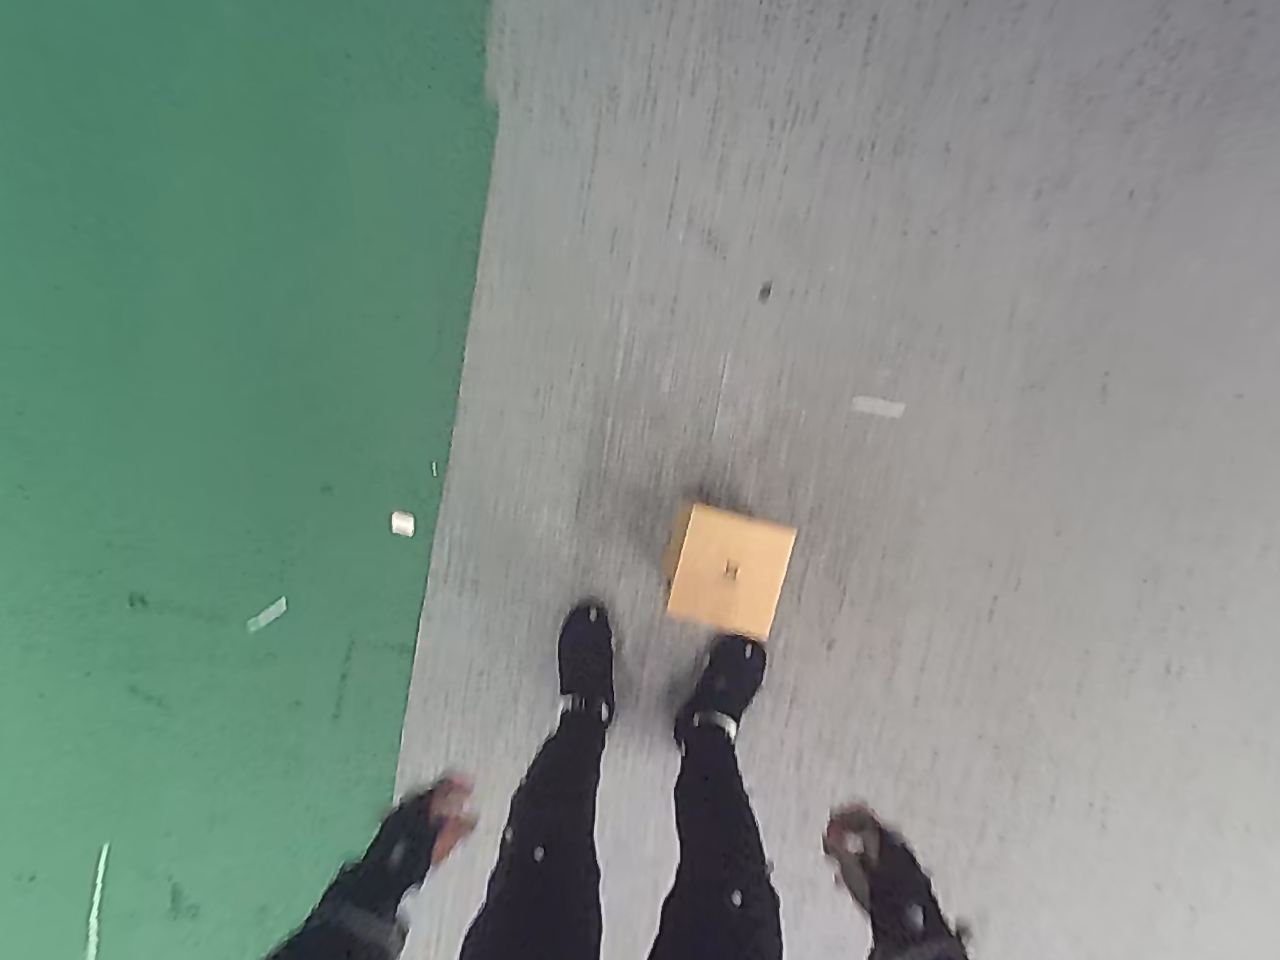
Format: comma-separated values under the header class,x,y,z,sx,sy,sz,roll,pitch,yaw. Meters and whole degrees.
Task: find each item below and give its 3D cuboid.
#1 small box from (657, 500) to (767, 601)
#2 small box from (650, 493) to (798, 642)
class,x,y,z,sx,sy,sz,roll,pitch,yaw
small box,0.137,0.147,1.077,0.168,0.176,0.179,15,92,1
small box,0.135,0.136,0.923,0.168,0.176,0.179,-44,90,5
